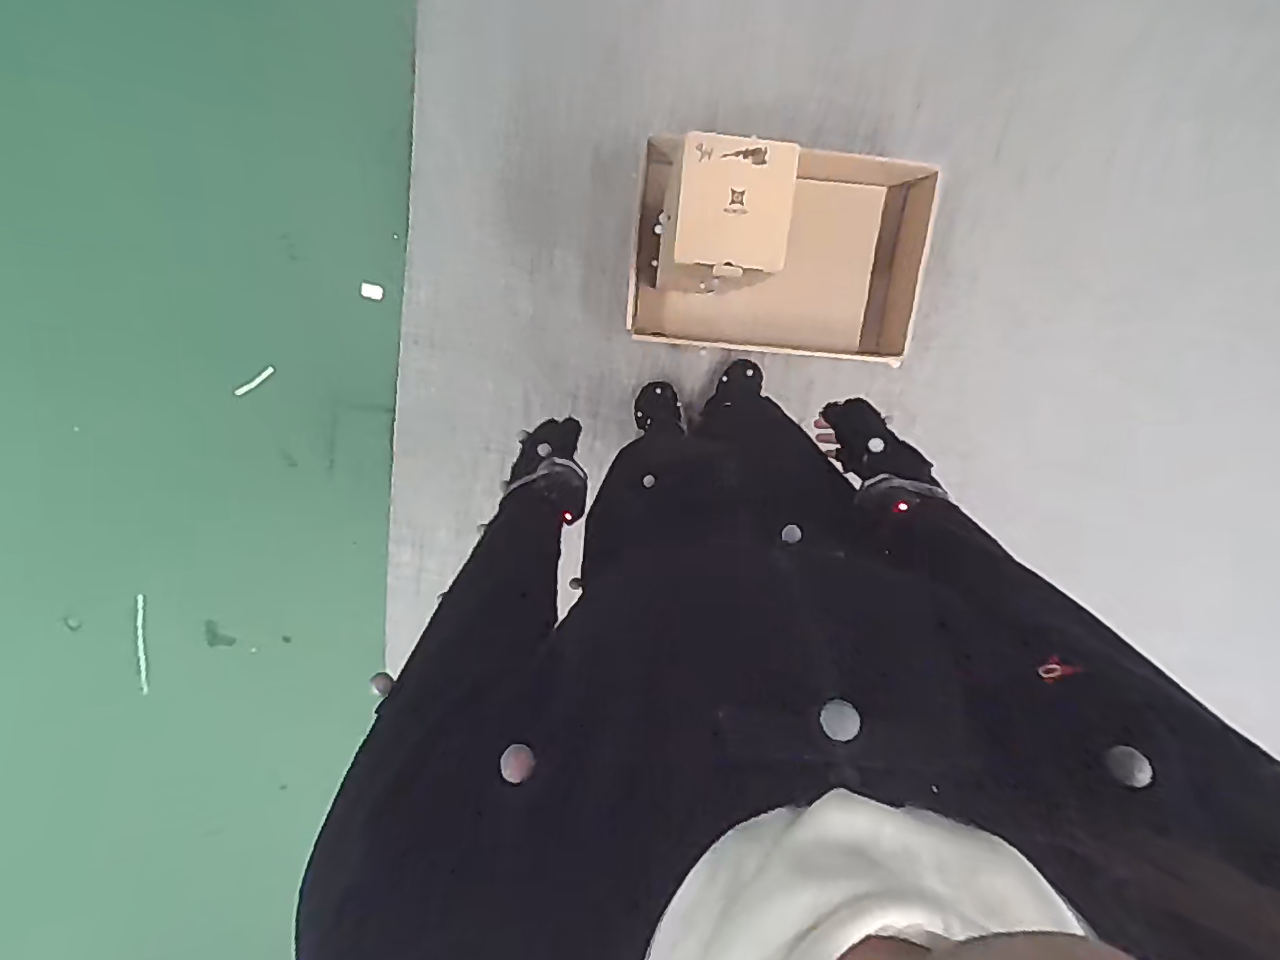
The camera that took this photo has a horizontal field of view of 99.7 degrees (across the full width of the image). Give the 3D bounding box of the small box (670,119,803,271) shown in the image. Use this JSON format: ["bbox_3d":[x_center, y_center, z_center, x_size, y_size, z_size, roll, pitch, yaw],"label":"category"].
[{"bbox_3d":[0.140,-0.434,0.855,0.168,0.176,0.179,5,105,-3],"label":"small box"}]

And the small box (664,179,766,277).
[{"bbox_3d":[0.144,-0.480,1.012,0.179,0.176,0.168,5,104,-2],"label":"small box"}]
